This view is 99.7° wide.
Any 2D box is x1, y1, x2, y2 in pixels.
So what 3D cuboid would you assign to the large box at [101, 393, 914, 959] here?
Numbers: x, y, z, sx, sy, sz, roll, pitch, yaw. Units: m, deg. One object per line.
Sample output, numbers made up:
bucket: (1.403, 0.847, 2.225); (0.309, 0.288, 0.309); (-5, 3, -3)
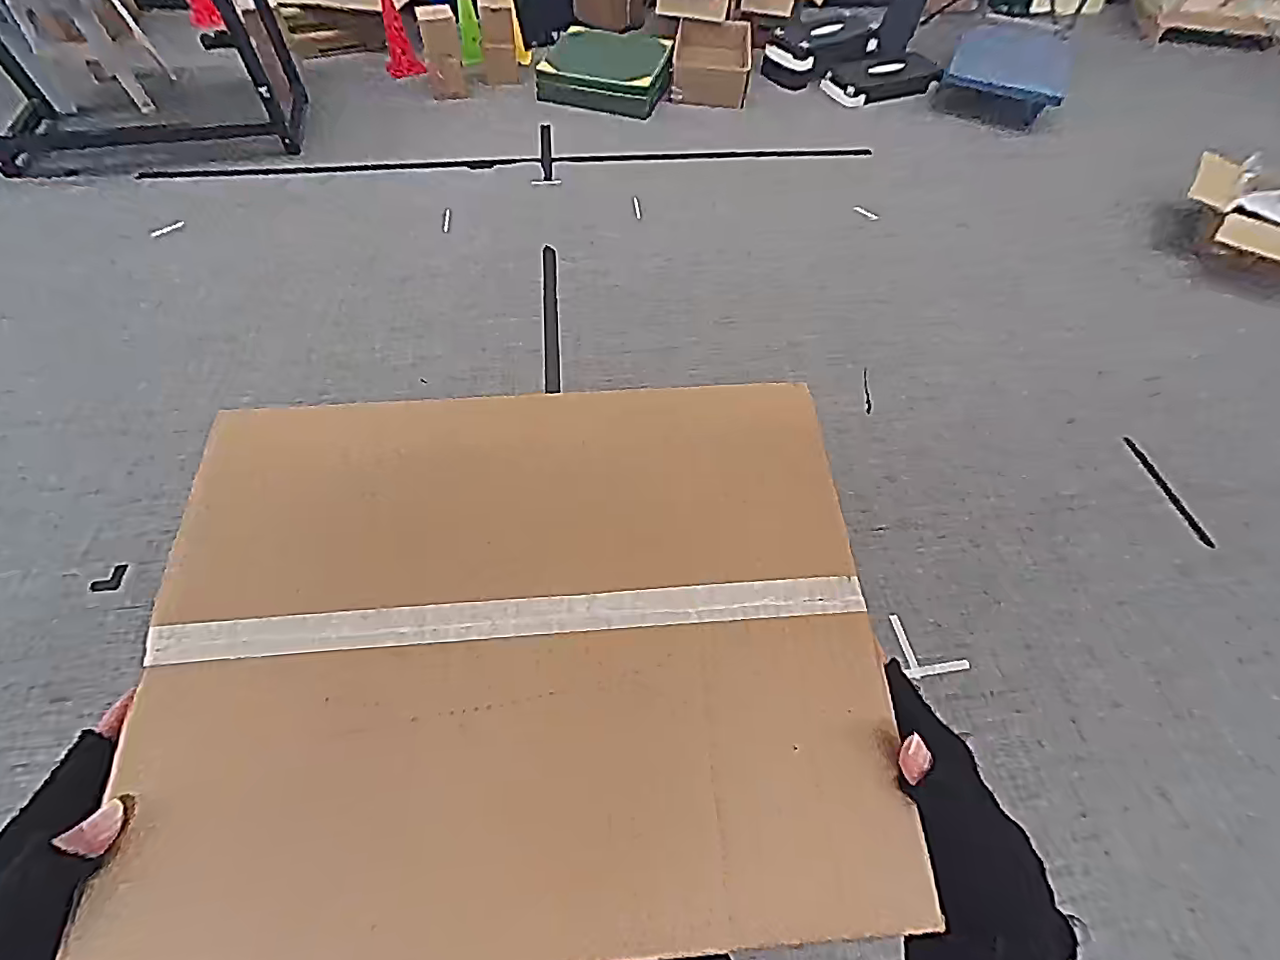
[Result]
large box: (-0.073, 0.151, 0.460); (0.408, 0.320, 0.320); (-3, 65, -3)
